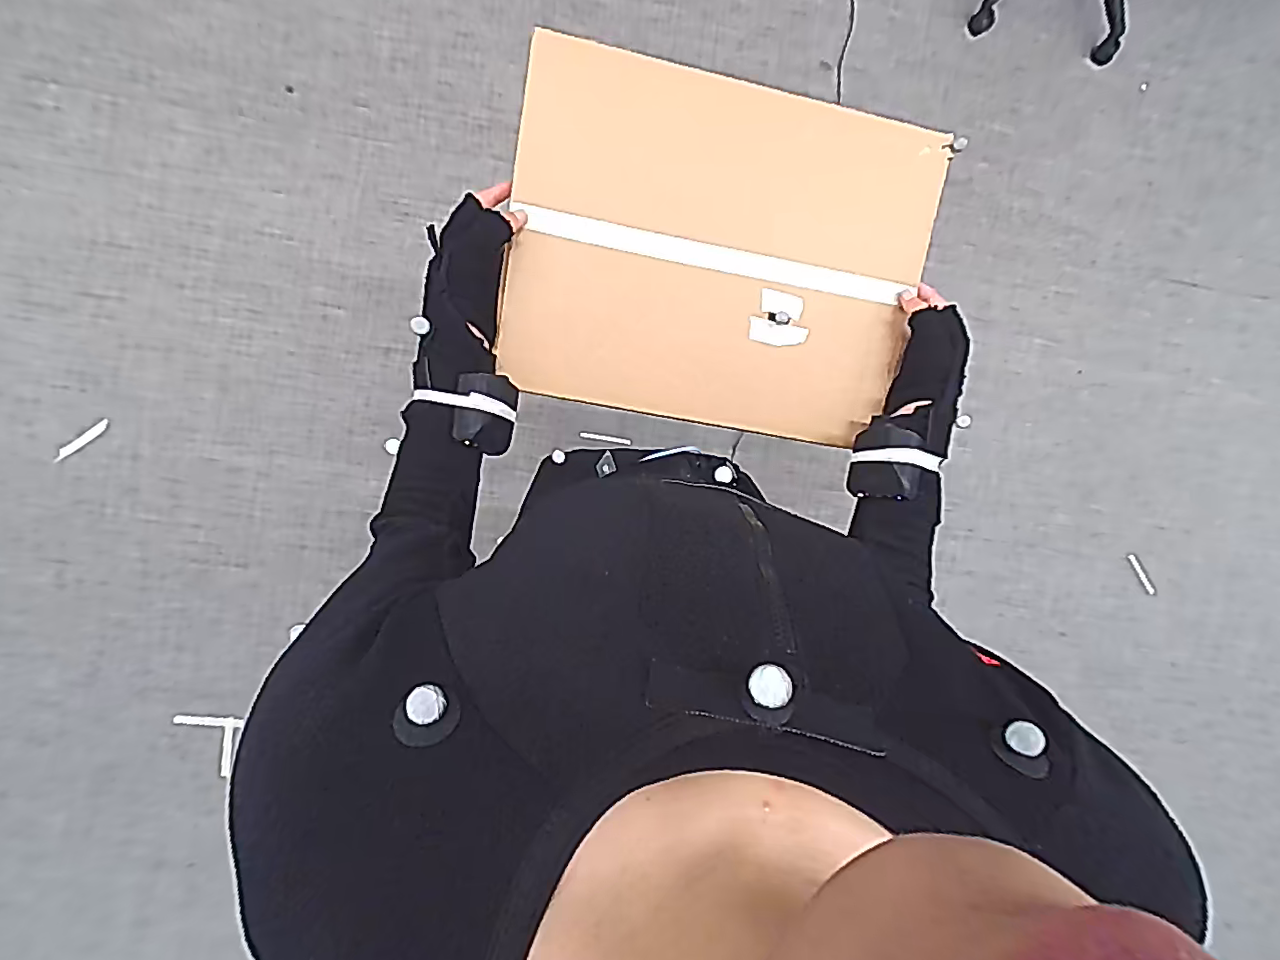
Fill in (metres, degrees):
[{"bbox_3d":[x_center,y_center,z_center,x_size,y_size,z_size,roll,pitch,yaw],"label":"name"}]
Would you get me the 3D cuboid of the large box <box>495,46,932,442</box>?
[{"bbox_3d":[0.057,-0.242,0.681,0.408,0.320,0.320,10,99,-8],"label":"large box"}]
